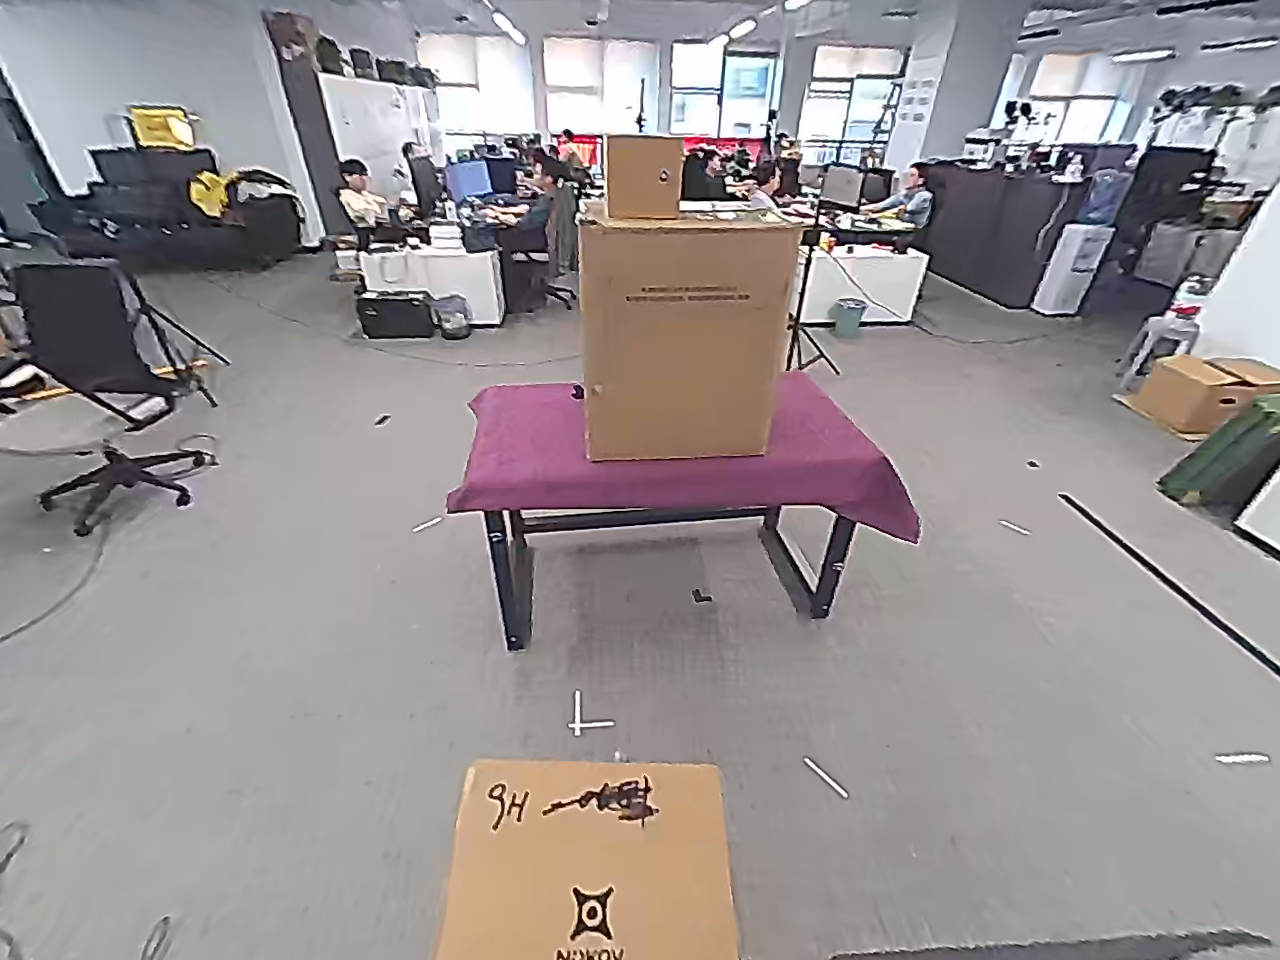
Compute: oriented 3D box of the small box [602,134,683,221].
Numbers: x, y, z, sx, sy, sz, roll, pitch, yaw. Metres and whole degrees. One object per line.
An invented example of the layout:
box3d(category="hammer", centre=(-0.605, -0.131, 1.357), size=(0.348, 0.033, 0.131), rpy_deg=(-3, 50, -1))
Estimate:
box3d(category="small box", centre=(-0.001, -0.729, 1.303), size=(0.179, 0.176, 0.168), rpy_deg=(-3, 34, -6))
